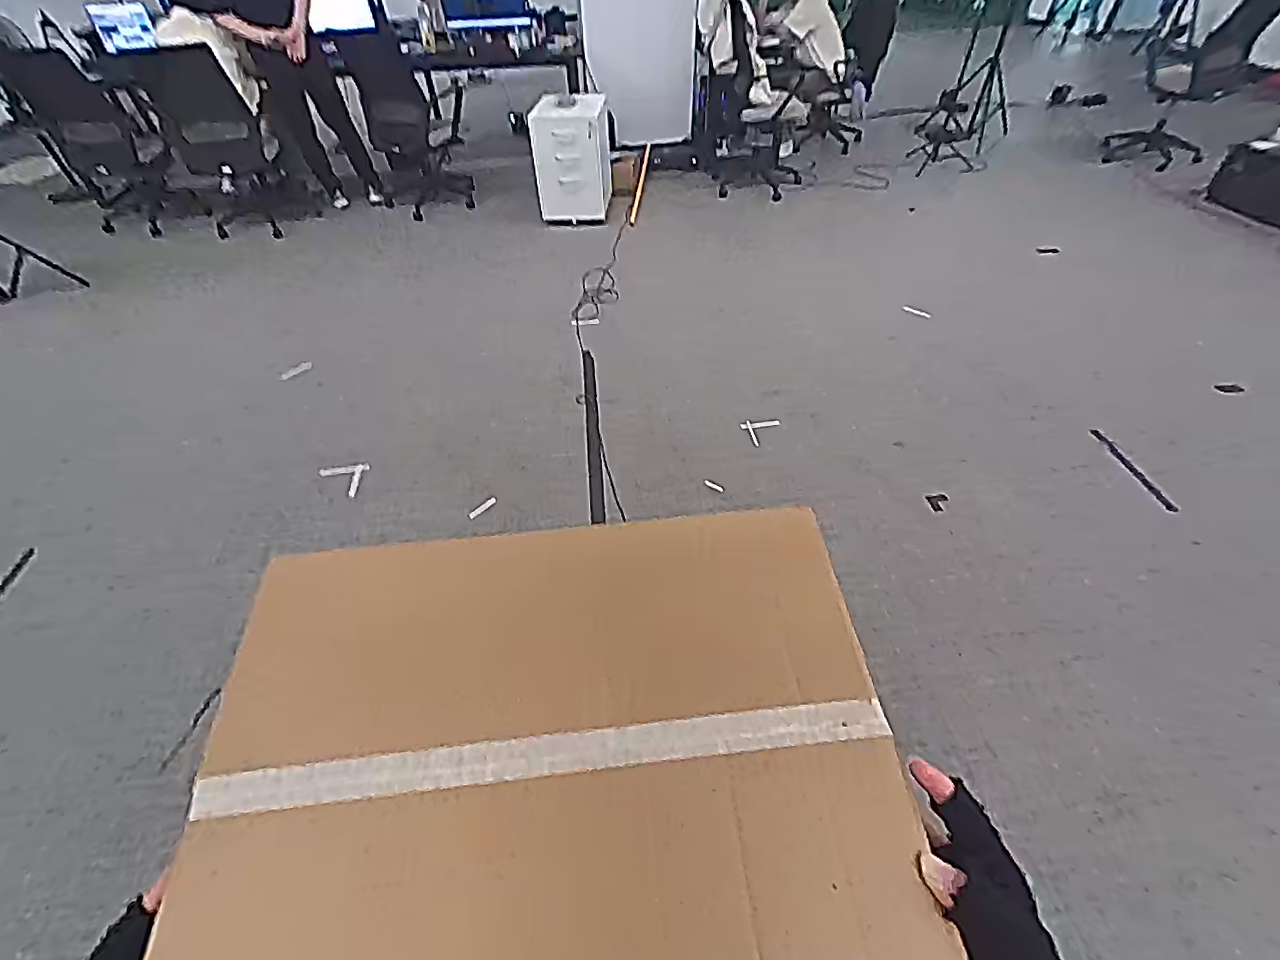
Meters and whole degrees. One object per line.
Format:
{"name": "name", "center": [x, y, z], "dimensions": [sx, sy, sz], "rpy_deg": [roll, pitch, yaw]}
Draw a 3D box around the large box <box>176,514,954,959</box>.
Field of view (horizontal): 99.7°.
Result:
{"name": "large box", "center": [-0.050, 0.258, 0.454], "dimensions": [0.408, 0.320, 0.320], "rpy_deg": [-5, 55, -3]}
